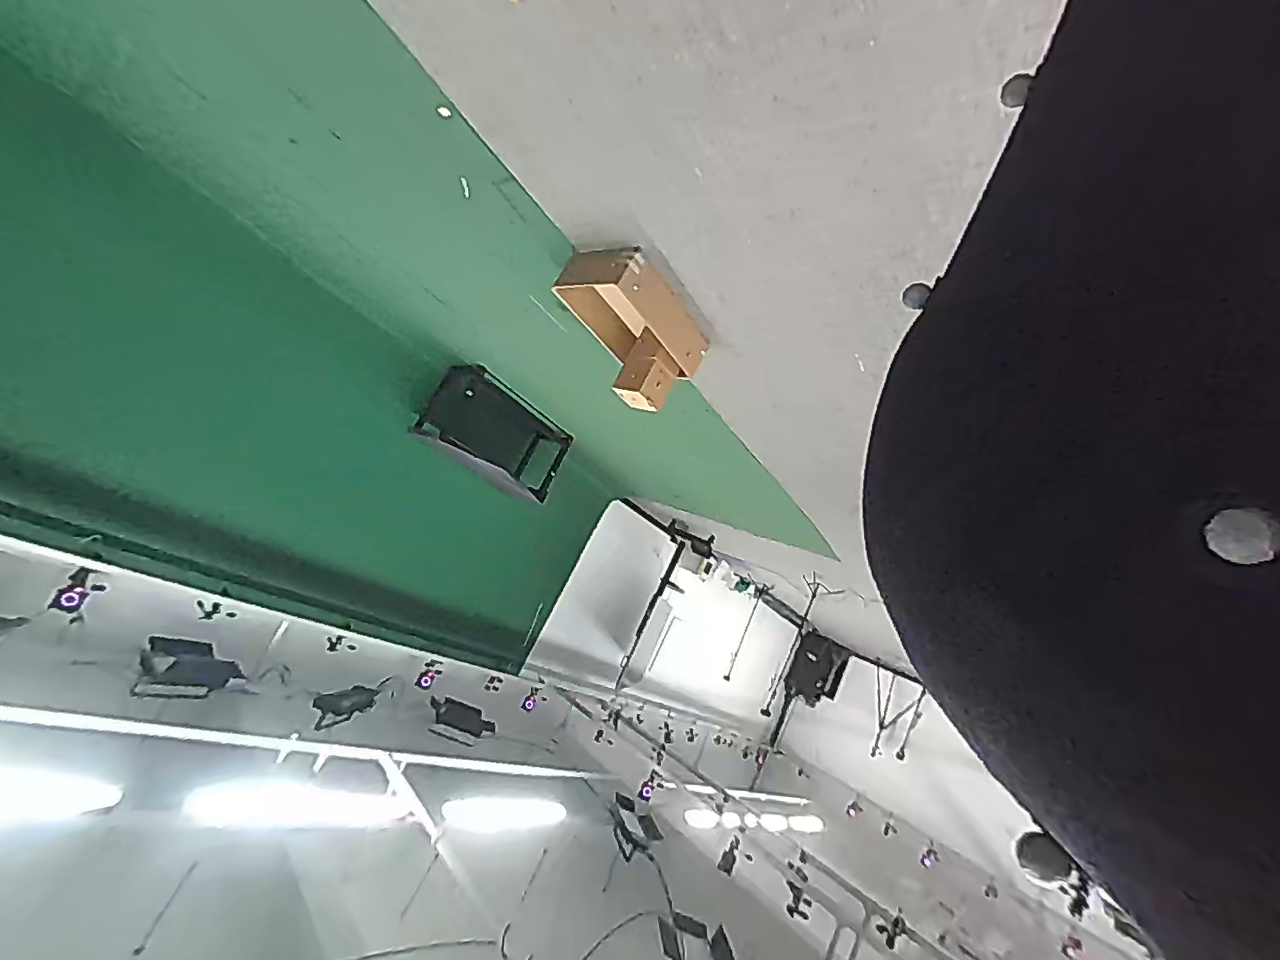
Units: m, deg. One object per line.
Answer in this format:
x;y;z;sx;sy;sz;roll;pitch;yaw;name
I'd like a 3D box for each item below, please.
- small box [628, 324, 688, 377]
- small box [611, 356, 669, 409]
0.083;-0.582;2.425;0.179;0.176;0.168;13;162;45;small box
0.008;-0.437;2.406;0.179;0.176;0.168;15;164;40;small box
